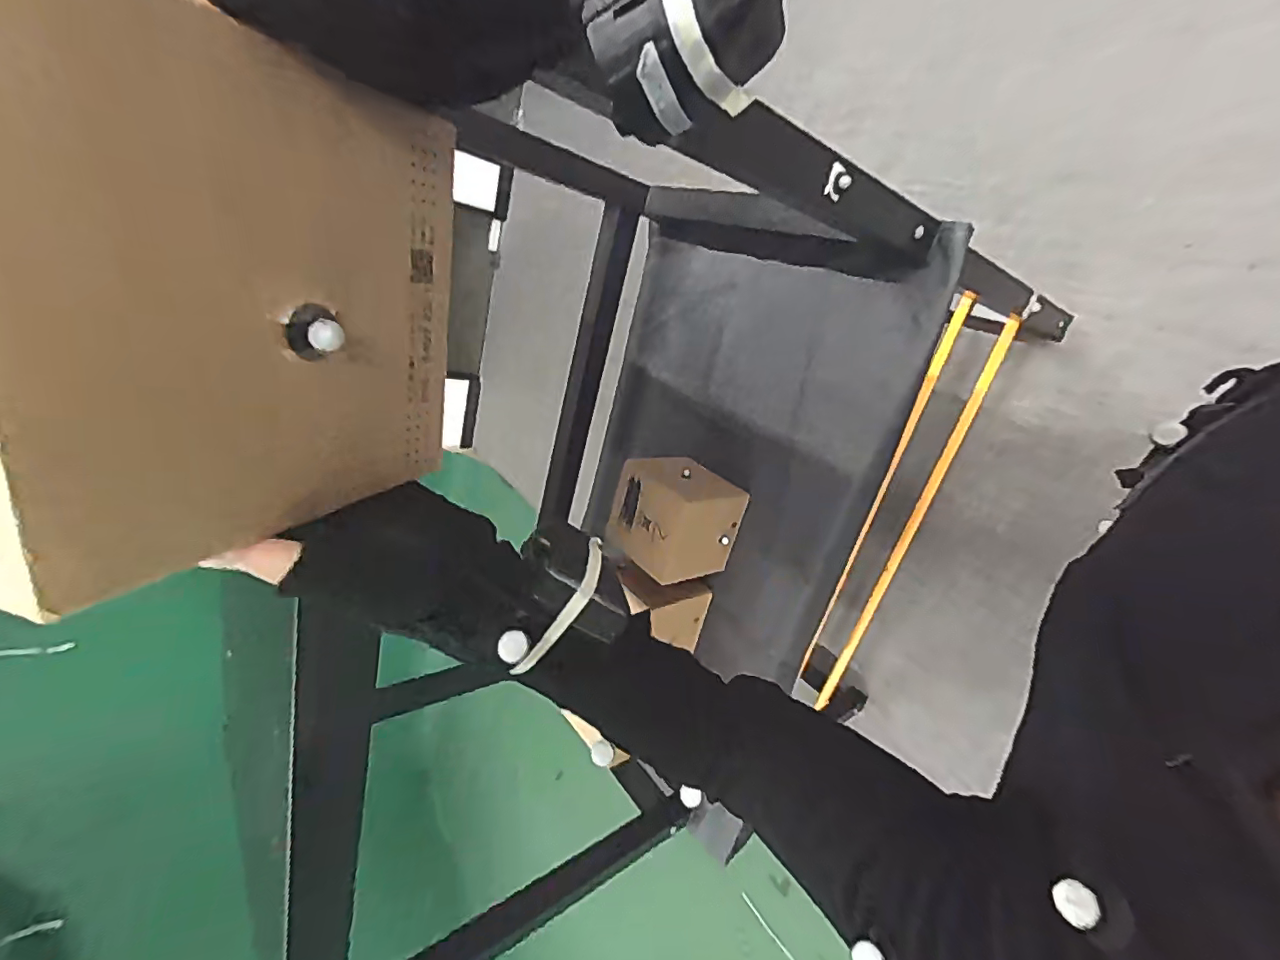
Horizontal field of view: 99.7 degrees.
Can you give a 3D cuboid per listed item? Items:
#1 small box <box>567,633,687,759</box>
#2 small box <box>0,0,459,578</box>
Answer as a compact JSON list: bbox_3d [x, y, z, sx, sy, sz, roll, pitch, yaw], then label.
[{"bbox_3d":[-0.029,0.453,1.169,0.179,0.176,0.168,33,117,43],"label":"small box"},{"bbox_3d":[-0.199,-0.089,0.228,0.179,0.176,0.168,16,110,16],"label":"small box"}]
